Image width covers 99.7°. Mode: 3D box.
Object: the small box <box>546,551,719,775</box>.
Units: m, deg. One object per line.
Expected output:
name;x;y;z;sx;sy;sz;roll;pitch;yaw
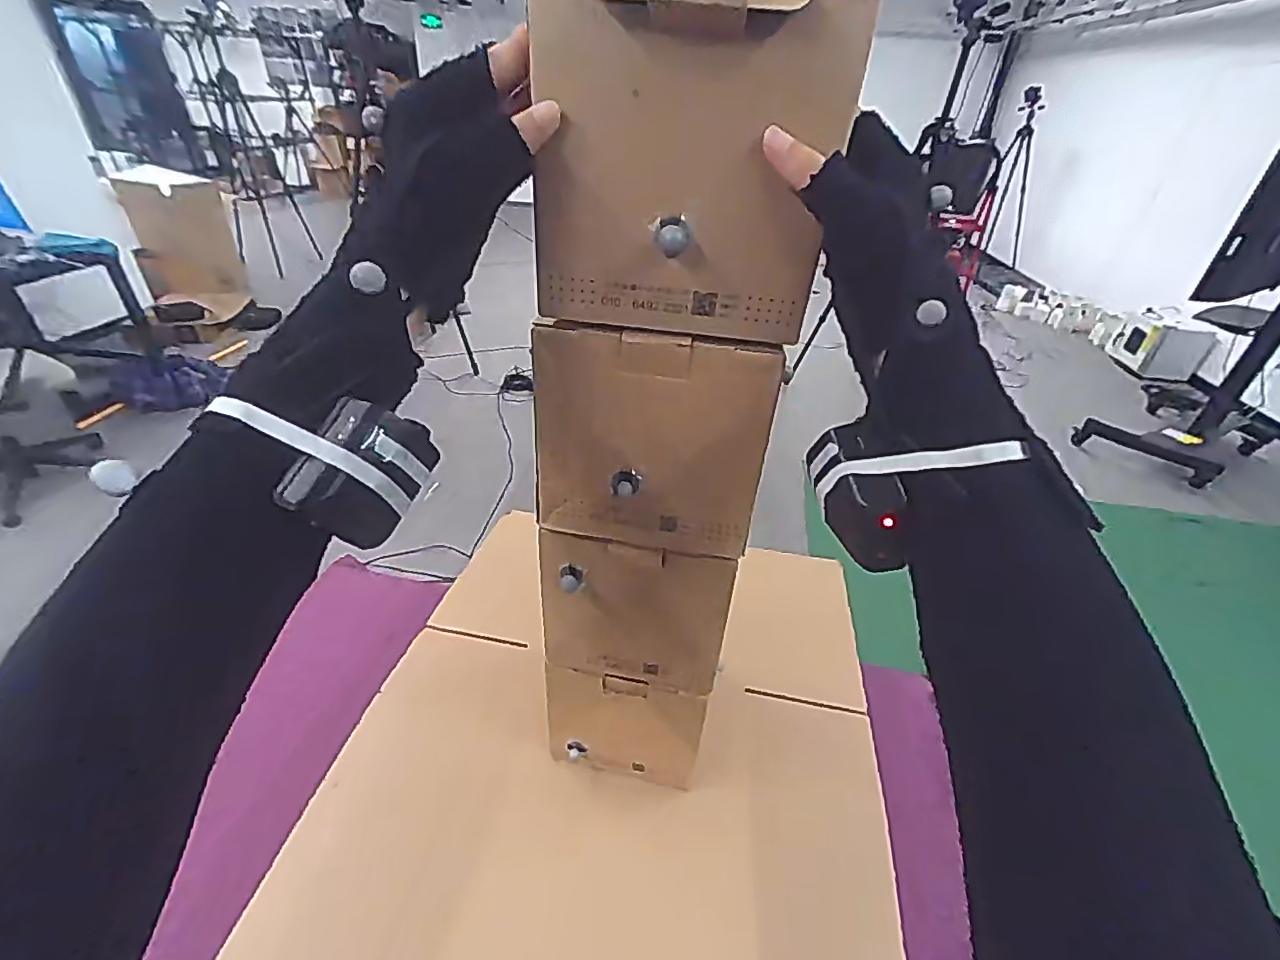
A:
small box;-0.002;0.211;0.631;0.168;0.176;0.179;7;35;5

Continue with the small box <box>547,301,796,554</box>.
small box;0.023;-0.065;0.456;0.168;0.176;0.179;9;33;5

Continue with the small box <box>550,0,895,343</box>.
small box;0.040;-0.209;0.362;0.168;0.176;0.179;8;36;4
